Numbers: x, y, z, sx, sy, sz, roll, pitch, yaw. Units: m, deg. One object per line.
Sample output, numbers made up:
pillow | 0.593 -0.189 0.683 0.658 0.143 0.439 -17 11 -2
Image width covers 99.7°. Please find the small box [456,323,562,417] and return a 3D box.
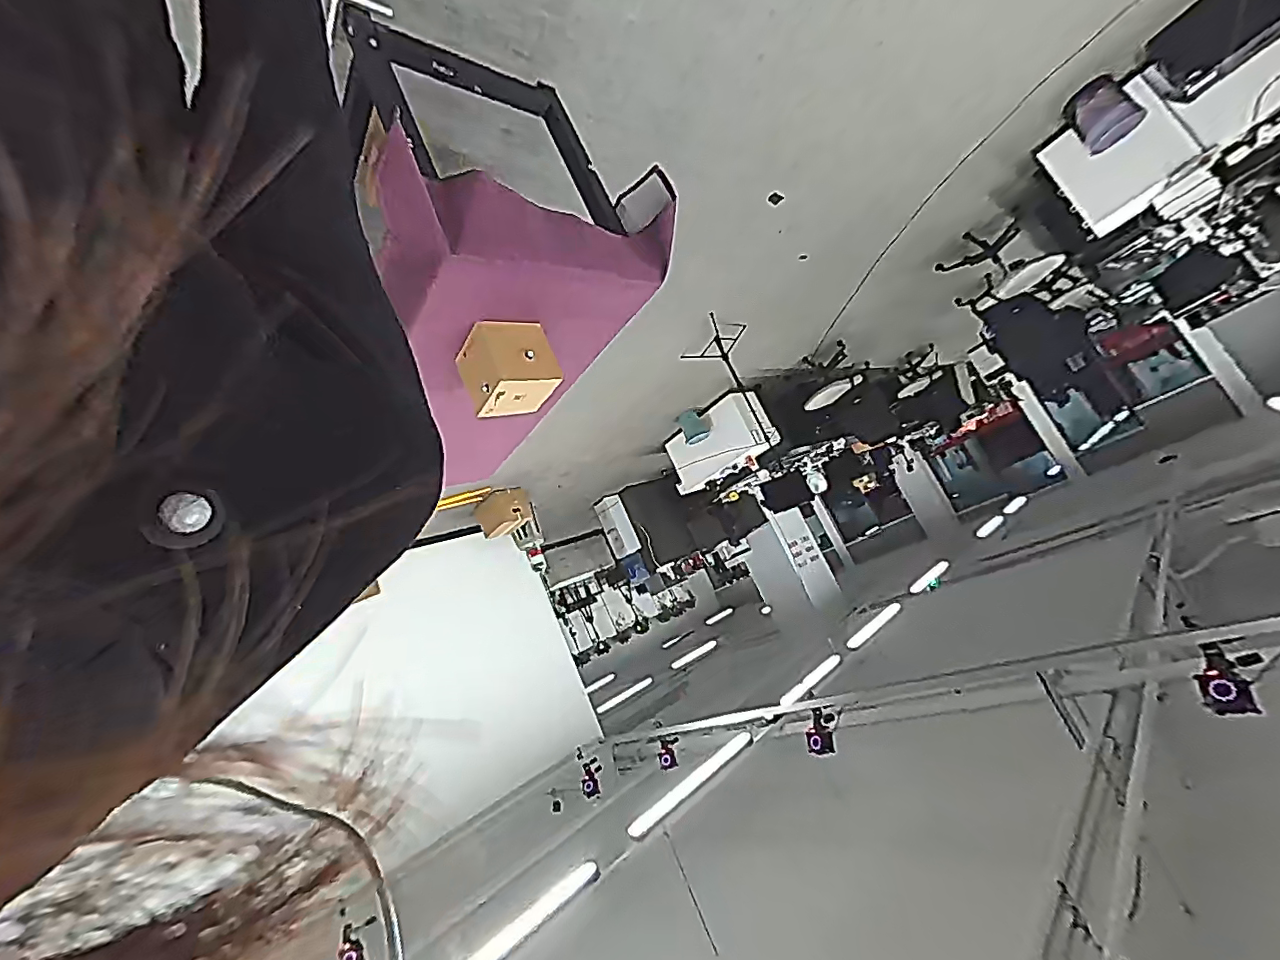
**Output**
small box | -0.330 -0.277 1.353 0.179 0.176 0.168 -14 164 -42
